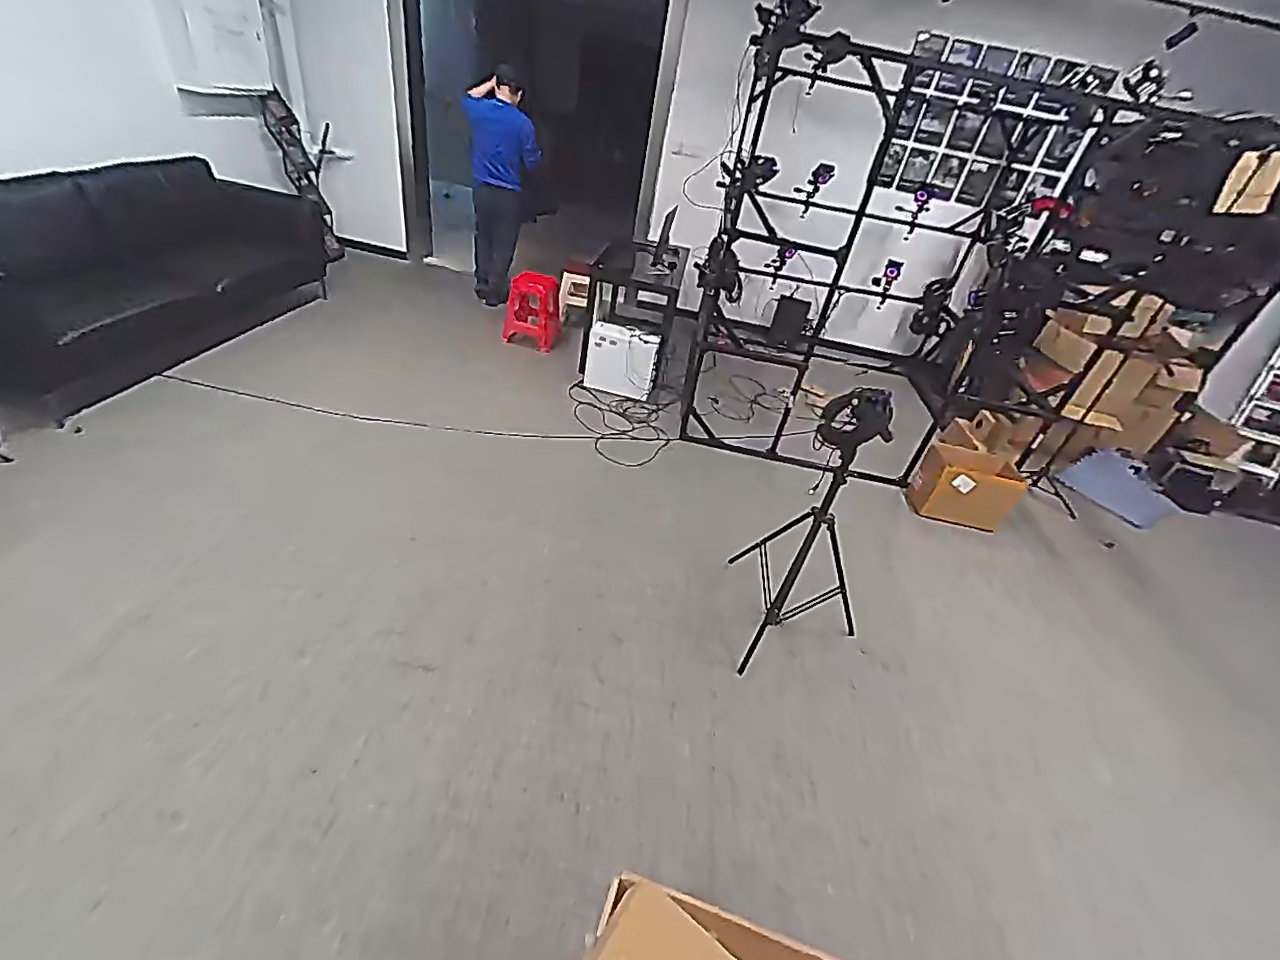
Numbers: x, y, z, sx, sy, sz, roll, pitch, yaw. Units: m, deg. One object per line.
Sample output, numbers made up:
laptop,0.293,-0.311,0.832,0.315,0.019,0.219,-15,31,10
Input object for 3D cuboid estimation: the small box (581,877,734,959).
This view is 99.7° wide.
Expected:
small box,0.015,0.604,0.619,0.179,0.176,0.168,34,51,19
